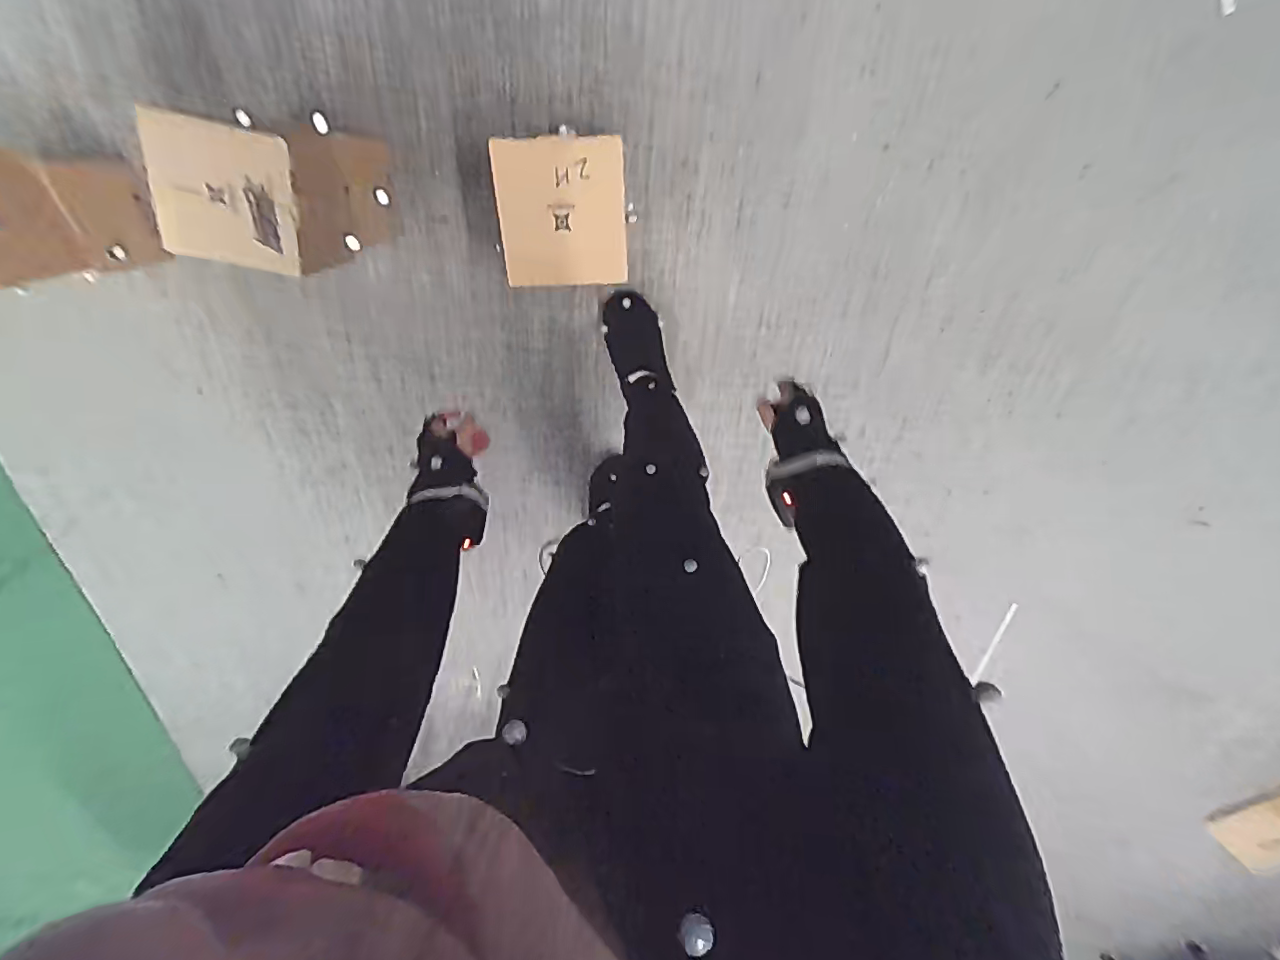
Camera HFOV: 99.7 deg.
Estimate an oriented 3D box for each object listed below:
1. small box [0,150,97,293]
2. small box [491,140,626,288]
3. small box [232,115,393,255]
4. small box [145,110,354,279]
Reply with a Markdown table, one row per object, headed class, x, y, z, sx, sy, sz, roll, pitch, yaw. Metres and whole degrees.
| class | x | y | z | sx | sy | sz | roll | pitch | yaw |
| --- | --- | --- | --- | --- | --- | --- | --- | --- | --- |
| small box | -0.960 | -0.366 | 0.773 | 0.168 | 0.176 | 0.179 | -6 | 119 | 2 |
| small box | -0.104 | -0.385 | 0.779 | 0.168 | 0.176 | 0.179 | -2 | 120 | -1 |
| small box | -0.525 | -0.488 | 0.900 | 0.179 | 0.176 | 0.168 | 9 | 119 | -7 |
| small box | -0.523 | -0.399 | 0.761 | 0.179 | 0.176 | 0.168 | 10 | 119 | -6 |
